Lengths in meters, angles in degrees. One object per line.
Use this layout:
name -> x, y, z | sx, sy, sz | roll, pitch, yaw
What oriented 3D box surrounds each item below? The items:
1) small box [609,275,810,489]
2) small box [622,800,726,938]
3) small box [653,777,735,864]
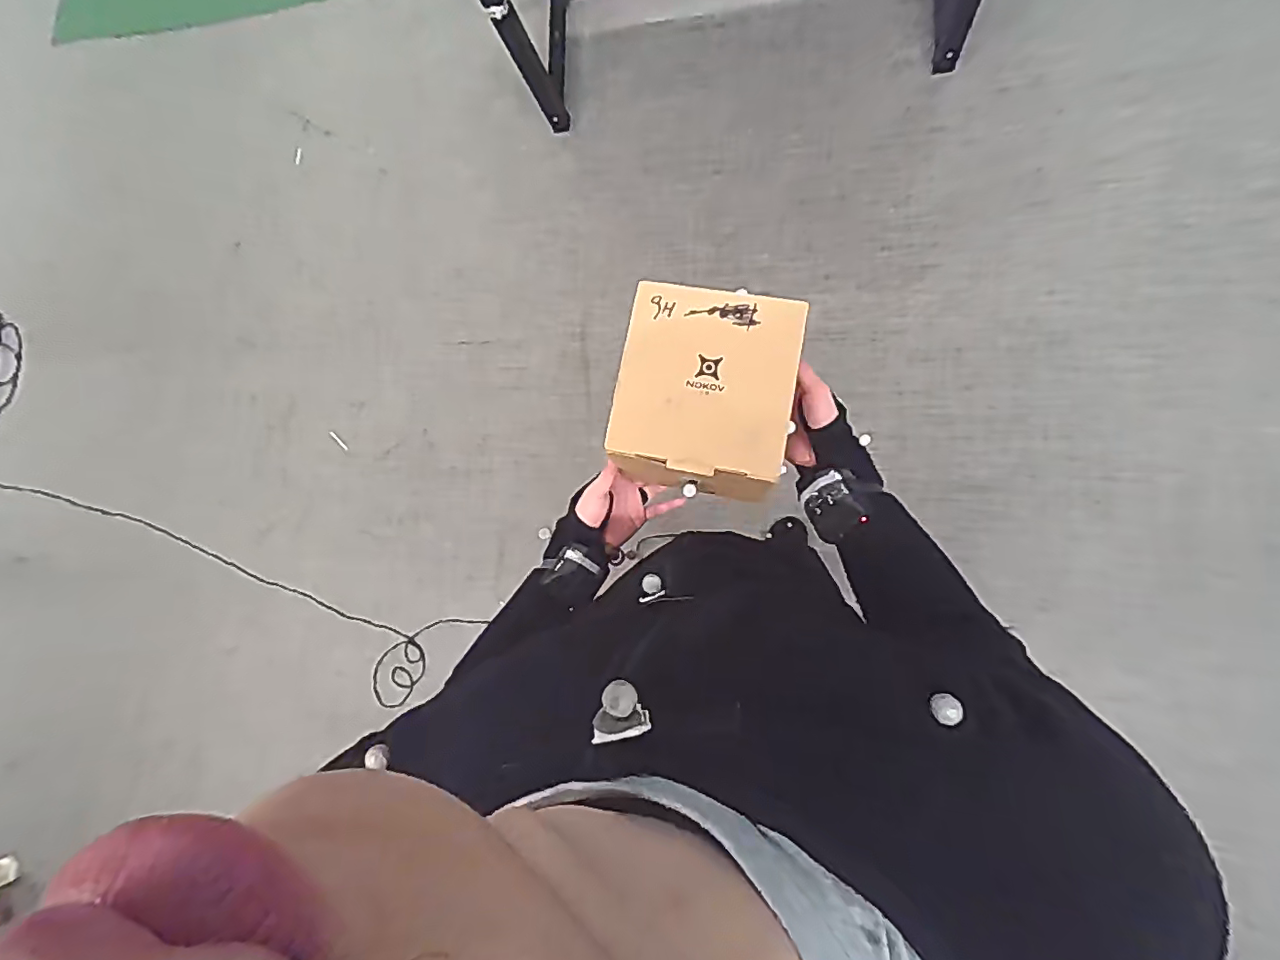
small box -> 0.074, -0.092, 0.586 | 0.168, 0.176, 0.179 | 10, 83, 7
small box -> 0.088, 0.908, 1.277 | 0.179, 0.176, 0.168 | -38, 79, 7
small box -> 0.136, 0.934, 1.433 | 0.179, 0.176, 0.168 | -46, 77, 7
